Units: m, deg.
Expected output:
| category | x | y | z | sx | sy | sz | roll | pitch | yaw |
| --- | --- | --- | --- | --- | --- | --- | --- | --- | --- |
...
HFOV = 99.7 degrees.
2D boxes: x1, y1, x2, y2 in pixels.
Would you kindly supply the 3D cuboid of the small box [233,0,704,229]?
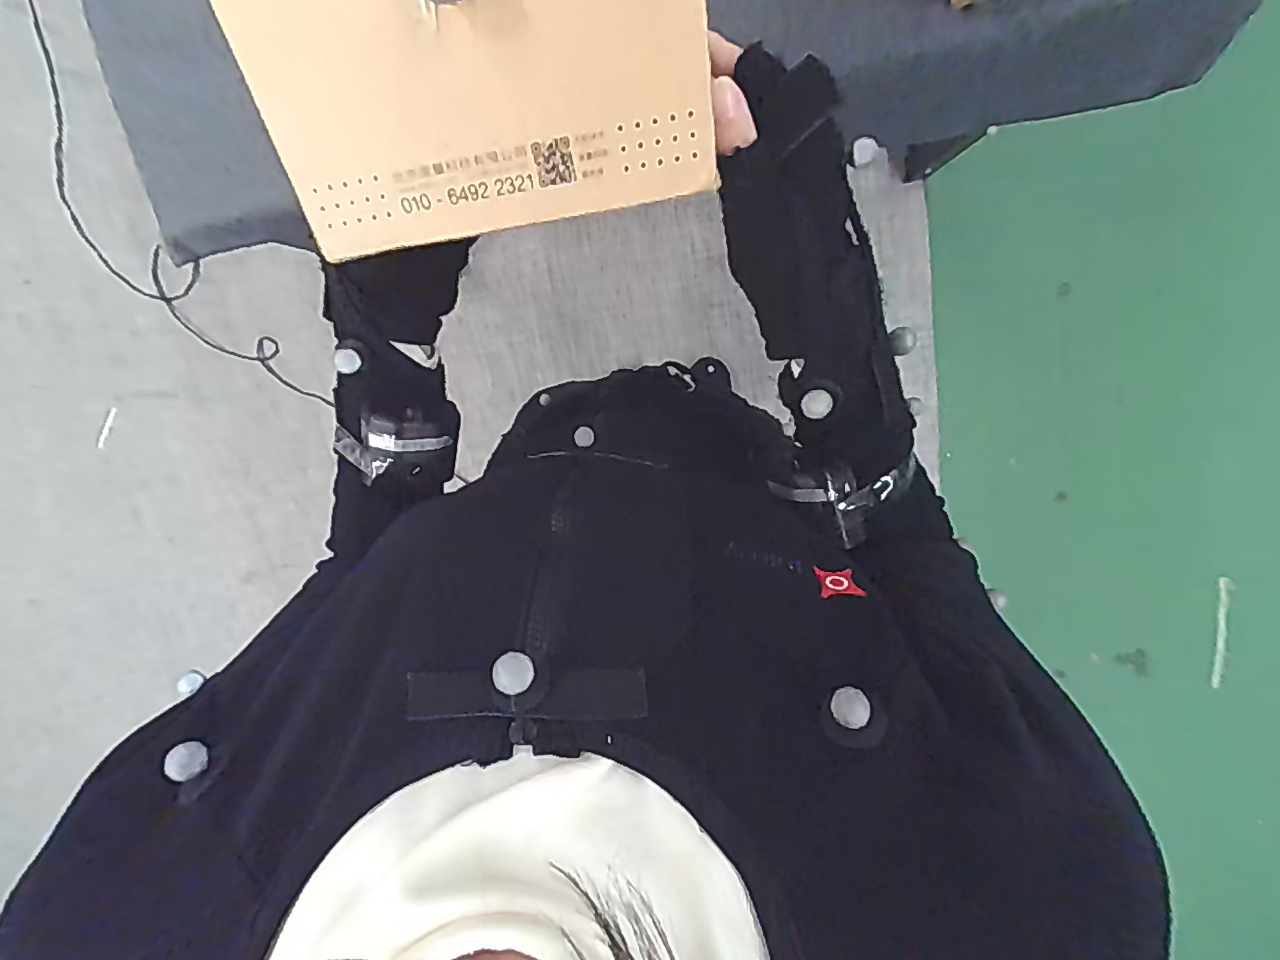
| category | x | y | z | sx | sy | sz | roll | pitch | yaw |
| --- | --- | --- | --- | --- | --- | --- | --- | --- | --- |
| small box | -0.062 | -0.223 | 0.248 | 0.168 | 0.179 | 0.176 | -6 | 123 | 6 |
